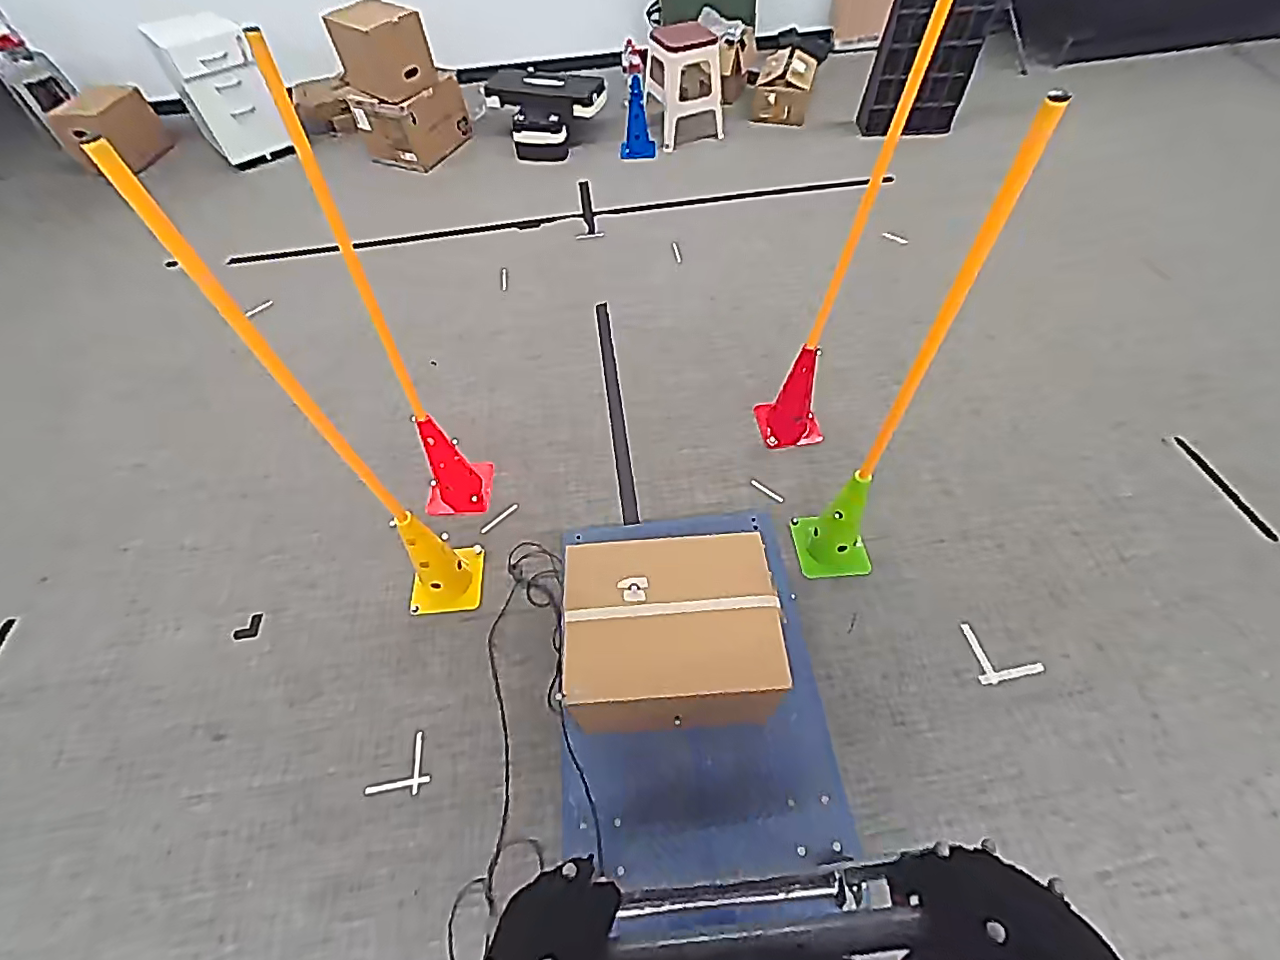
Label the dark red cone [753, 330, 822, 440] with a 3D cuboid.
[{"bbox_3d":[0.507,-0.312,1.741,0.201,0.394,0.202,-7,55,-4],"label":"dark red cone"}]

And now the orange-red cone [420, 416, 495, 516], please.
[{"bbox_3d":[-0.596,-0.064,1.657,0.198,0.360,0.199,-2,53,1],"label":"orange-red cone"}]

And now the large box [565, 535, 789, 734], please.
[{"bbox_3d":[0.065,0.340,1.154,0.408,0.320,0.320,-5,55,1],"label":"large box"}]

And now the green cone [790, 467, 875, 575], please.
[{"bbox_3d":[0.558,0.091,1.475,0.202,0.368,0.200,-5,55,-1],"label":"green cone"}]
